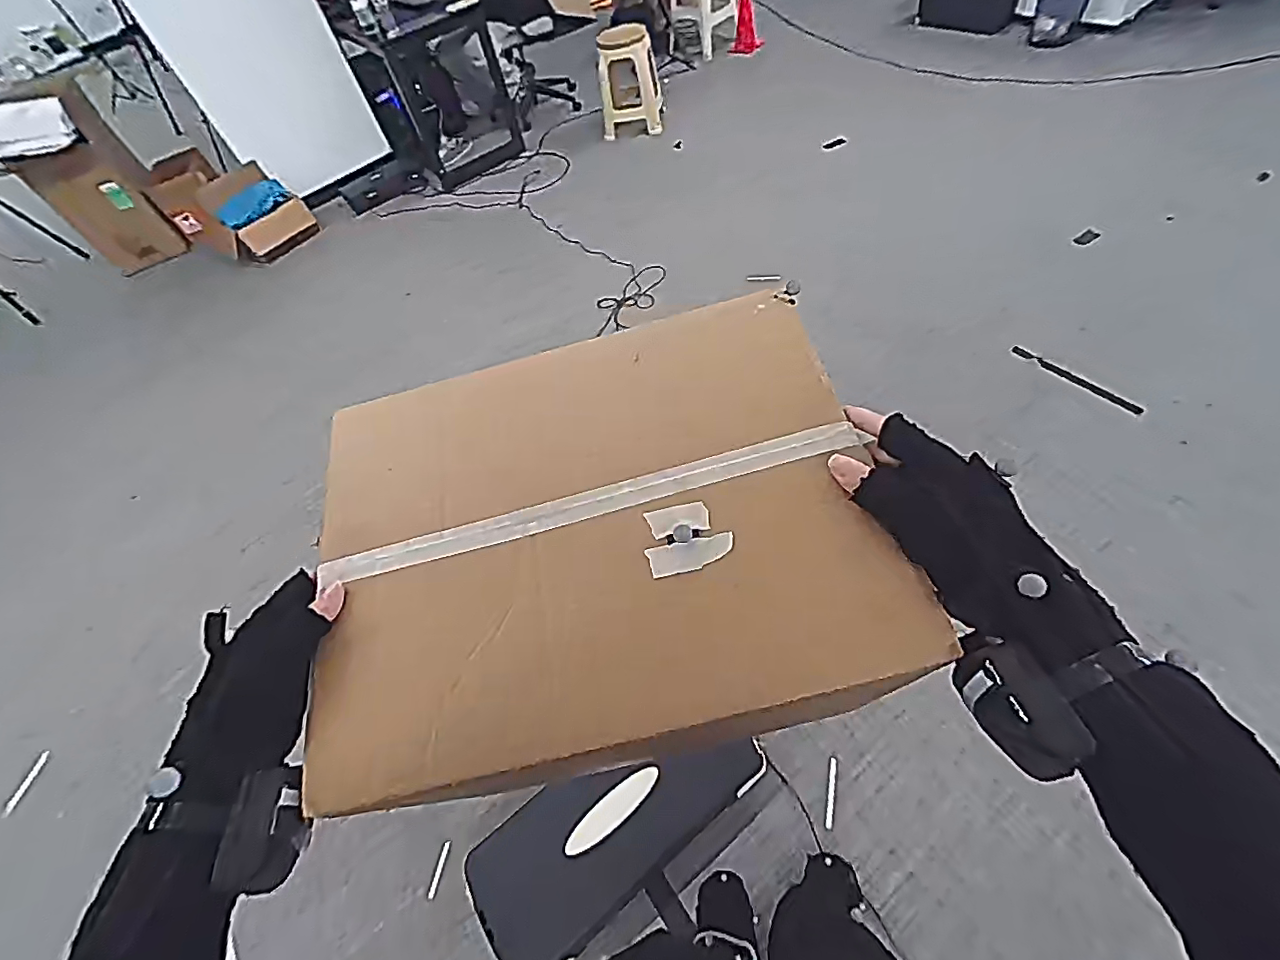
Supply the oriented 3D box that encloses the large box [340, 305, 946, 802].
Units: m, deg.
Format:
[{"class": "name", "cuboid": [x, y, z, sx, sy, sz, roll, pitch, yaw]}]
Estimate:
[{"class": "large box", "cuboid": [-0.010, 0.094, 0.538, 0.408, 0.320, 0.320, -15, 61, 2]}]
